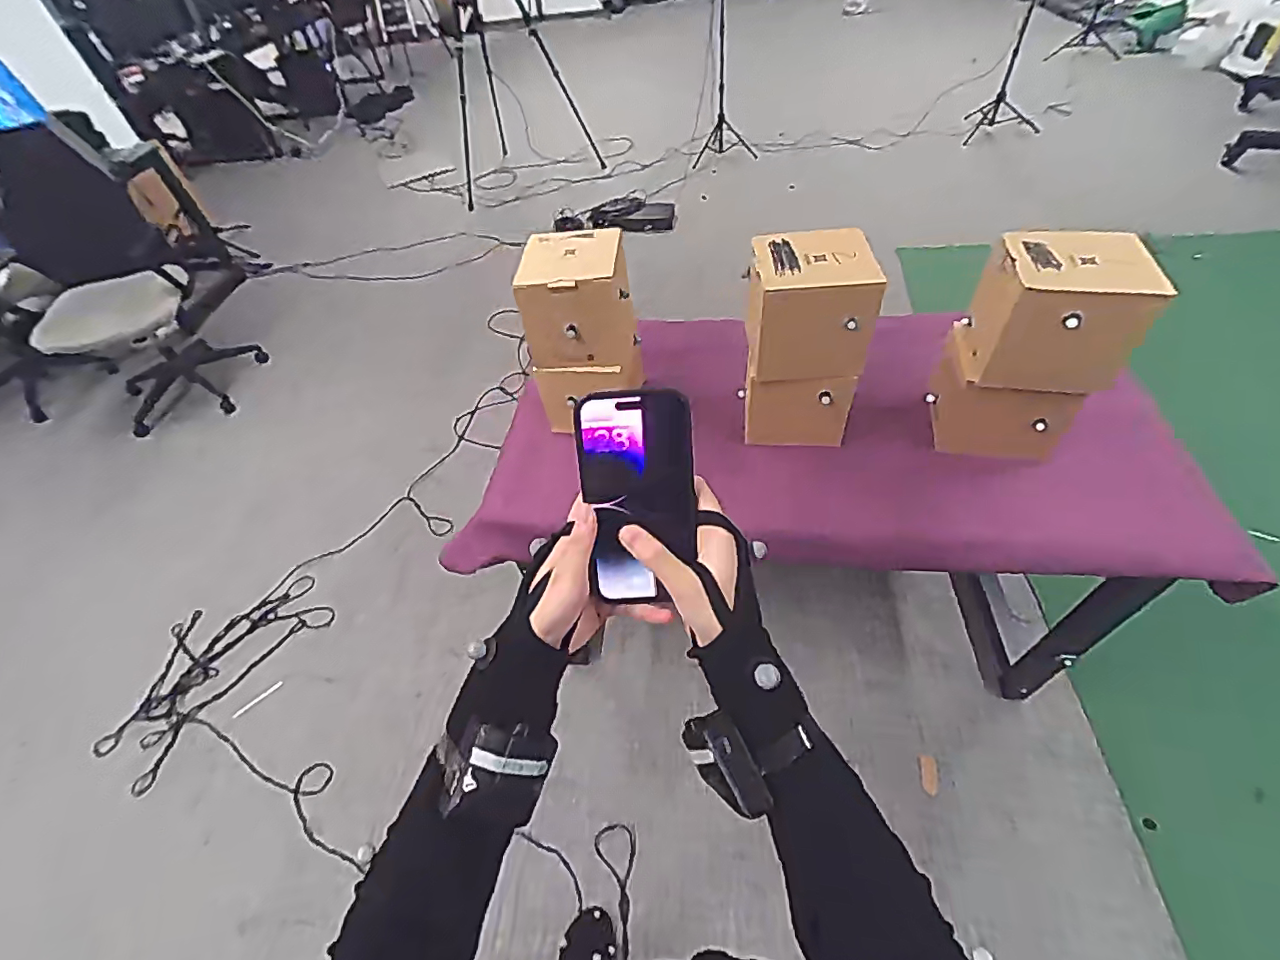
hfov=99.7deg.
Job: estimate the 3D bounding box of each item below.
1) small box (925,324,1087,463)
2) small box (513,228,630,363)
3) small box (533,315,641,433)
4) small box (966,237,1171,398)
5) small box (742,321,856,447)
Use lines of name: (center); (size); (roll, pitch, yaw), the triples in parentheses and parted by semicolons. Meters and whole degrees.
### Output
small box: (0.619, -0.147, 0.940); (0.179, 0.176, 0.168); (8, 51, 14)
small box: (-0.110, -0.322, 0.964); (0.168, 0.176, 0.179); (0, 51, 6)
small box: (-0.095, -0.210, 1.084); (0.168, 0.176, 0.179); (3, 50, 10)
small box: (0.610, -0.240, 0.805); (0.179, 0.176, 0.168); (8, 51, 13)
small box: (0.286, -0.175, 1.004); (0.179, 0.176, 0.168); (3, 50, 10)
